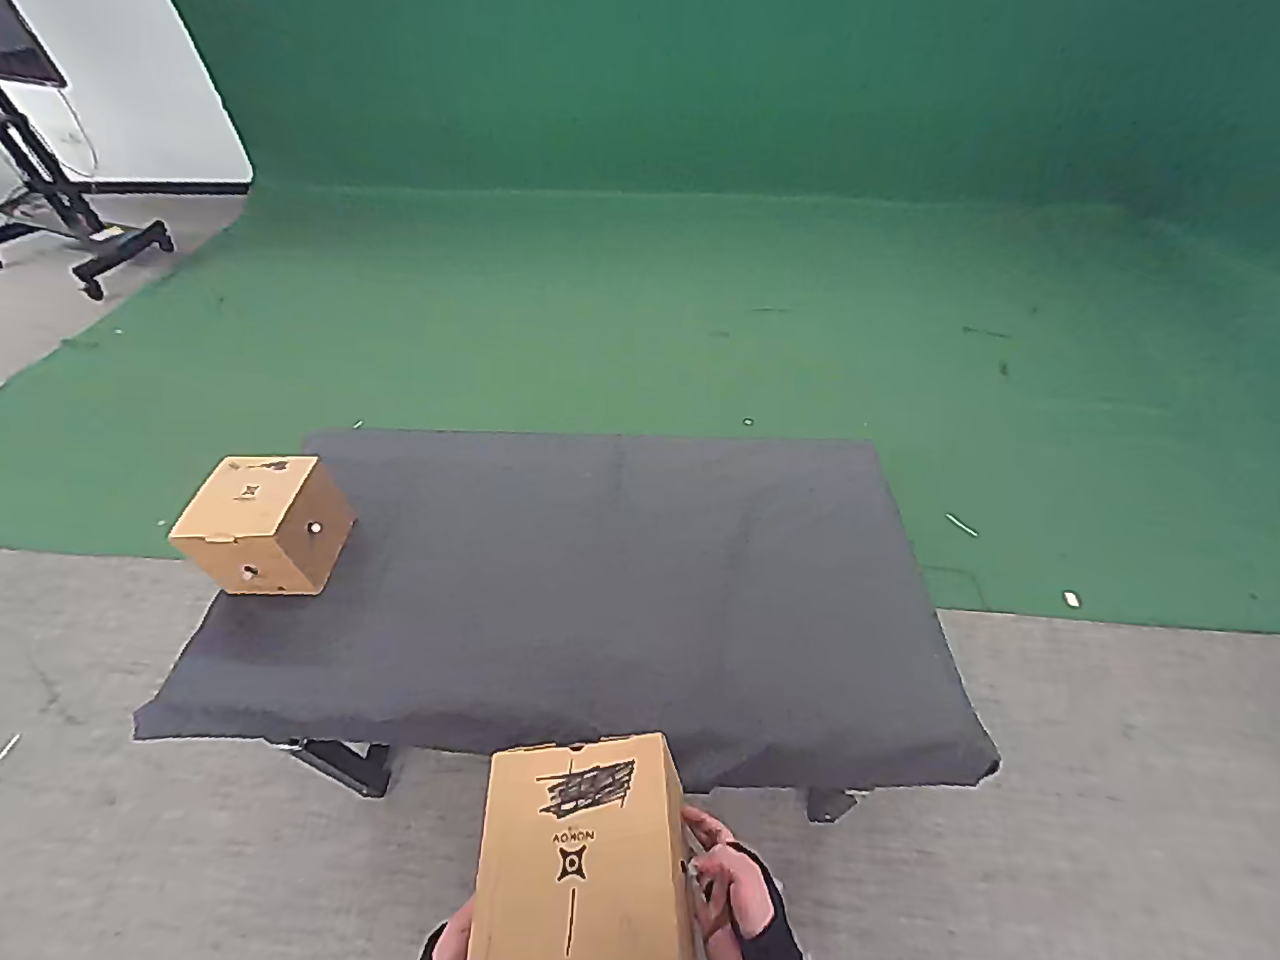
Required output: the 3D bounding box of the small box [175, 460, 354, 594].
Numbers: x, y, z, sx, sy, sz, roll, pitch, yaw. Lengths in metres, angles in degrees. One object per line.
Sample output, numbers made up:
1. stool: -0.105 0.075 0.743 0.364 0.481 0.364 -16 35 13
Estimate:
1. small box: -0.629 0.084 0.937 0.168 0.176 0.179 1 49 0
